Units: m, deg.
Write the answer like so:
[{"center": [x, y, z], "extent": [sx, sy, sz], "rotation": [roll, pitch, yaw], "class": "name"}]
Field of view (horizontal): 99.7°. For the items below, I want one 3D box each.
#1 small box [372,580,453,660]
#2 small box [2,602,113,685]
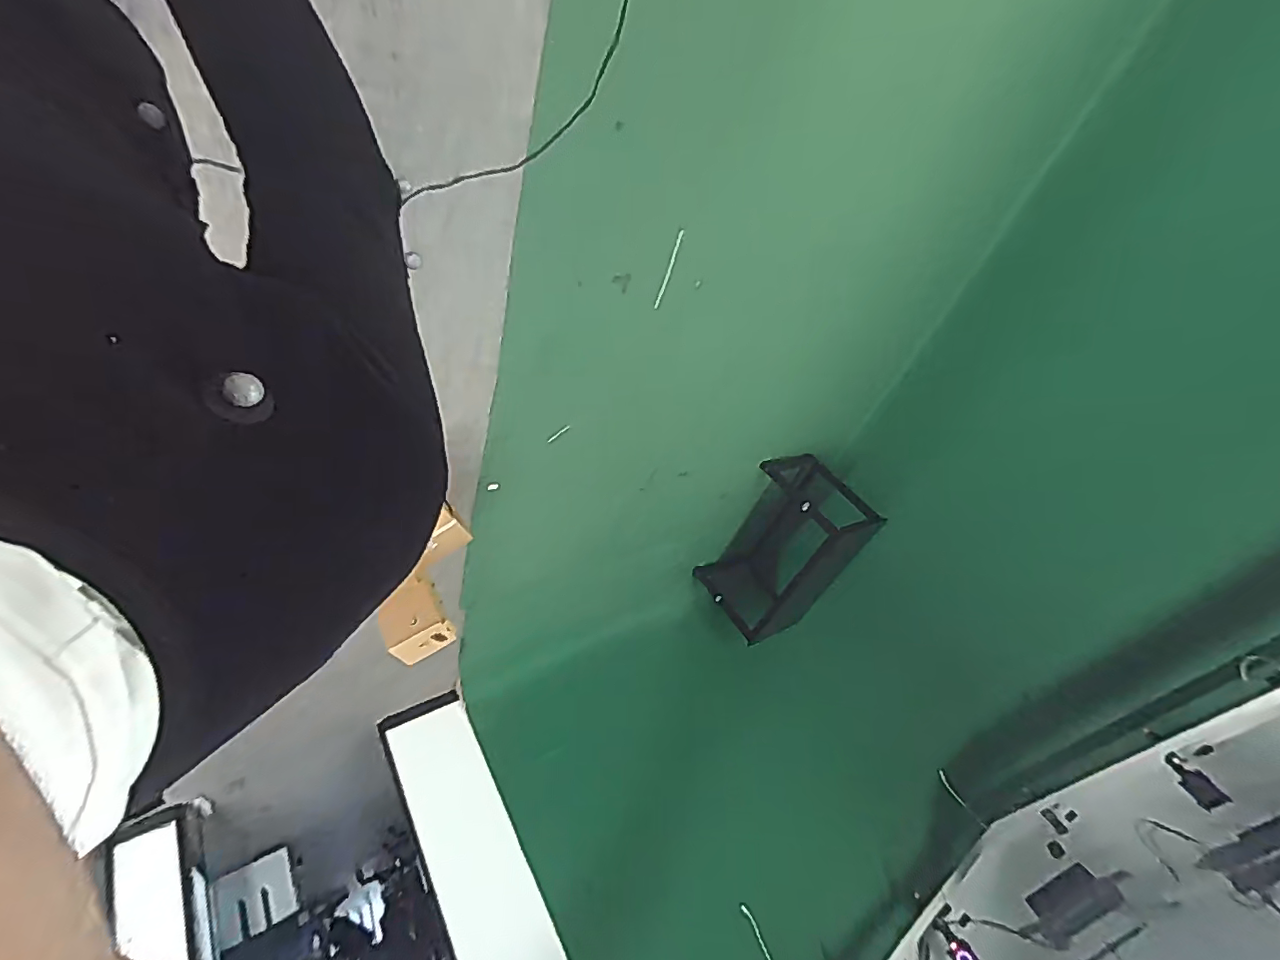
[{"center": [-0.760, 0.462, 1.802], "extent": [0.179, 0.176, 0.168], "rotation": [-29, 148, -15], "class": "small box"}, {"center": [-1.448, 0.424, 1.350], "extent": [0.168, 0.176, 0.179], "rotation": [-7, 136, -41], "class": "small box"}]
